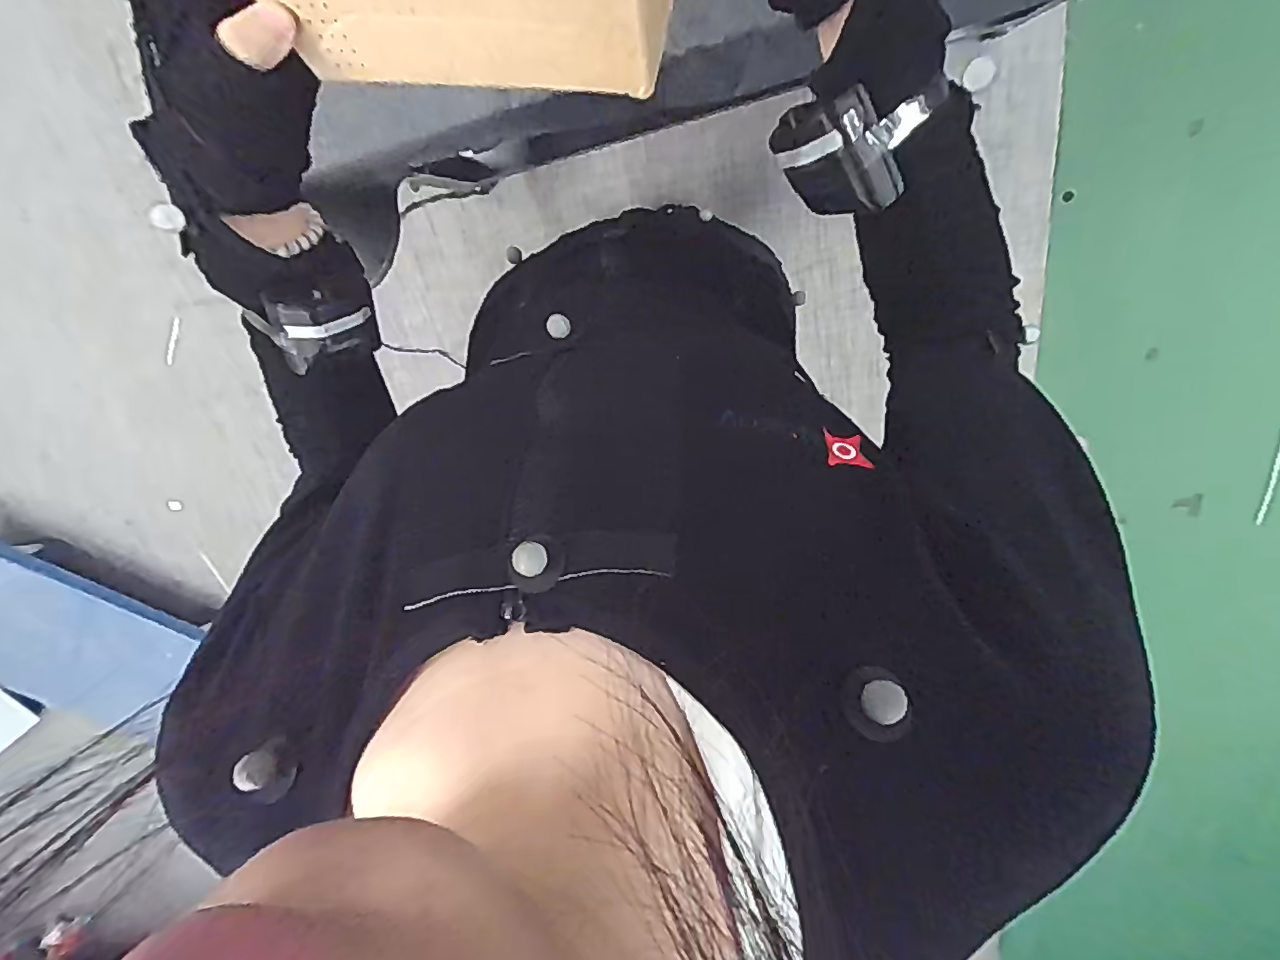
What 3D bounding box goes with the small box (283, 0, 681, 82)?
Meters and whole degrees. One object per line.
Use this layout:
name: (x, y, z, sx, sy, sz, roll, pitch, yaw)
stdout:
small box: (-0.068, -0.281, 0.185, 0.176, 0.168, 0.179, 9, 81, 10)
